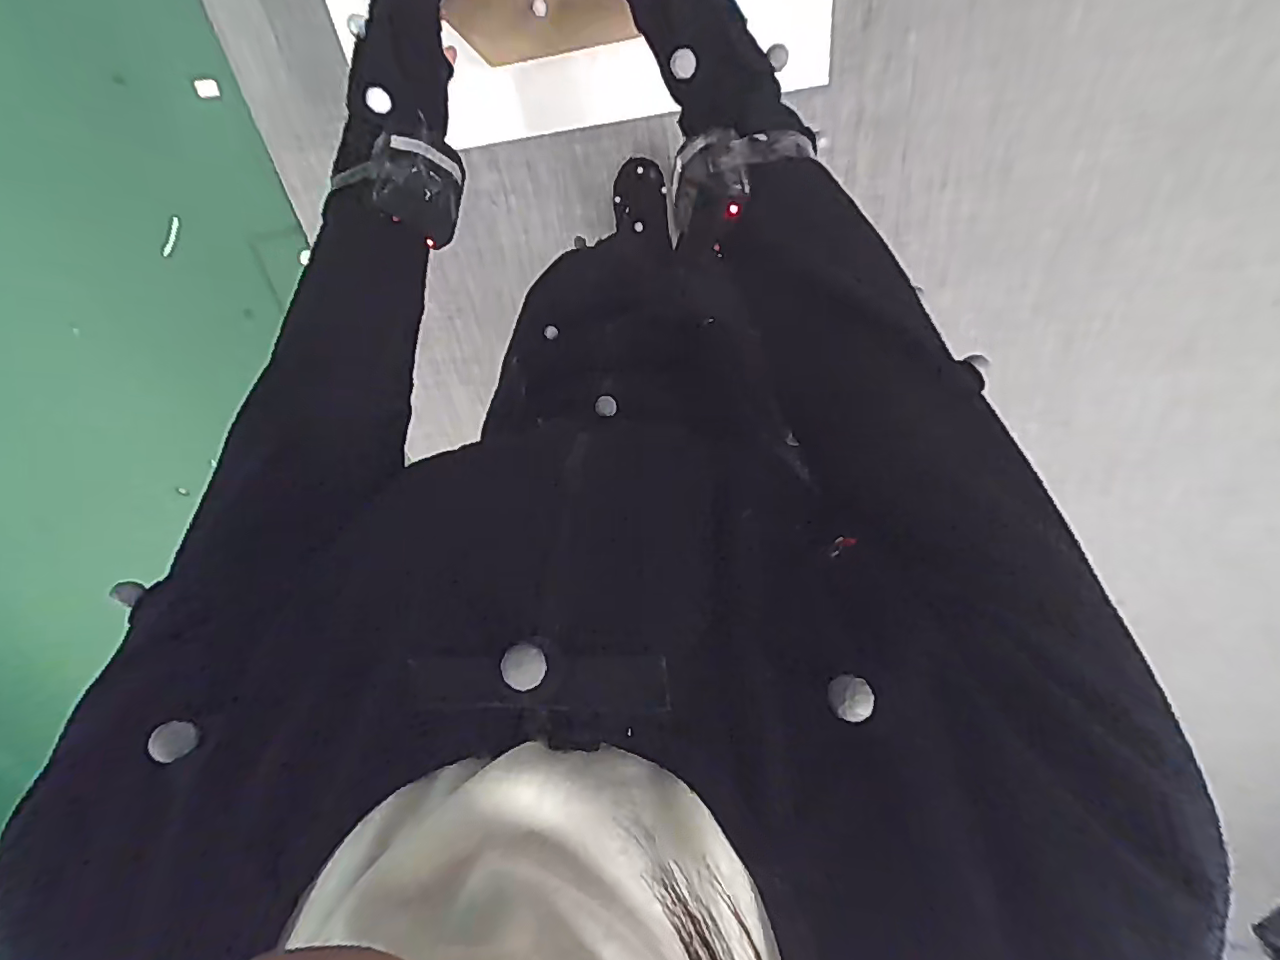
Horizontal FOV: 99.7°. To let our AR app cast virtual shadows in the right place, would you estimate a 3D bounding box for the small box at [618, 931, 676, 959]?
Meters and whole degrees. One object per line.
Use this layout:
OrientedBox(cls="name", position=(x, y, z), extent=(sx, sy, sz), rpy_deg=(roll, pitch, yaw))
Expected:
OrientedBox(cls="small box", position=(0.023, 1.592, 1.752), extent=(0.179, 0.176, 0.168), rpy_deg=(-4, 125, 9))
